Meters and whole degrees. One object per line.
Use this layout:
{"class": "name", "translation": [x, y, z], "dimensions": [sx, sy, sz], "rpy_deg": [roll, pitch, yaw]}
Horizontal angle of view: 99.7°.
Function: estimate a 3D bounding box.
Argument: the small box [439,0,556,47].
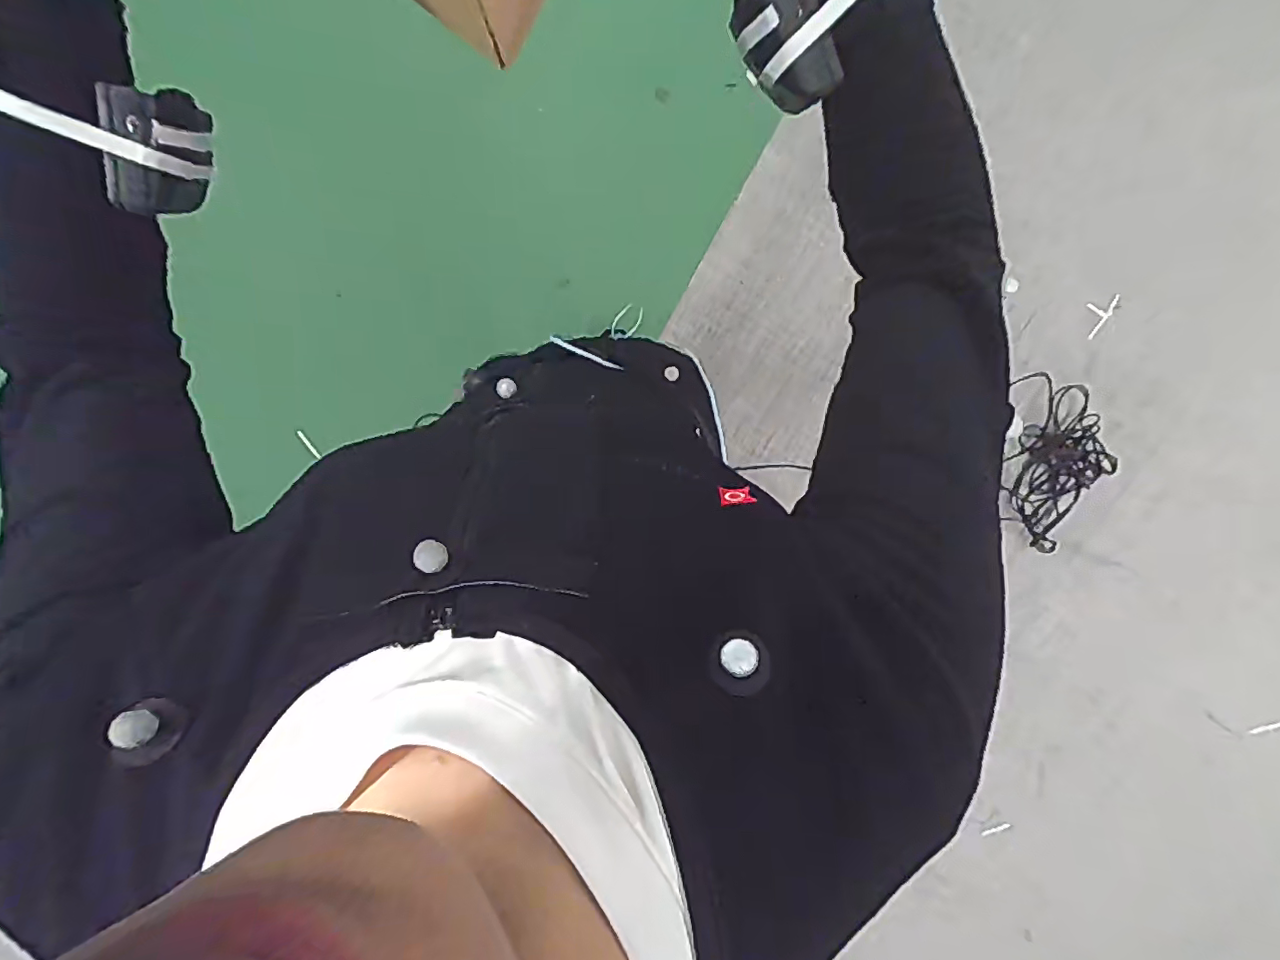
{"class": "small box", "translation": [-0.107, -0.387, 0.283], "dimensions": [0.179, 0.176, 0.168], "rpy_deg": [32, 103, -14]}
